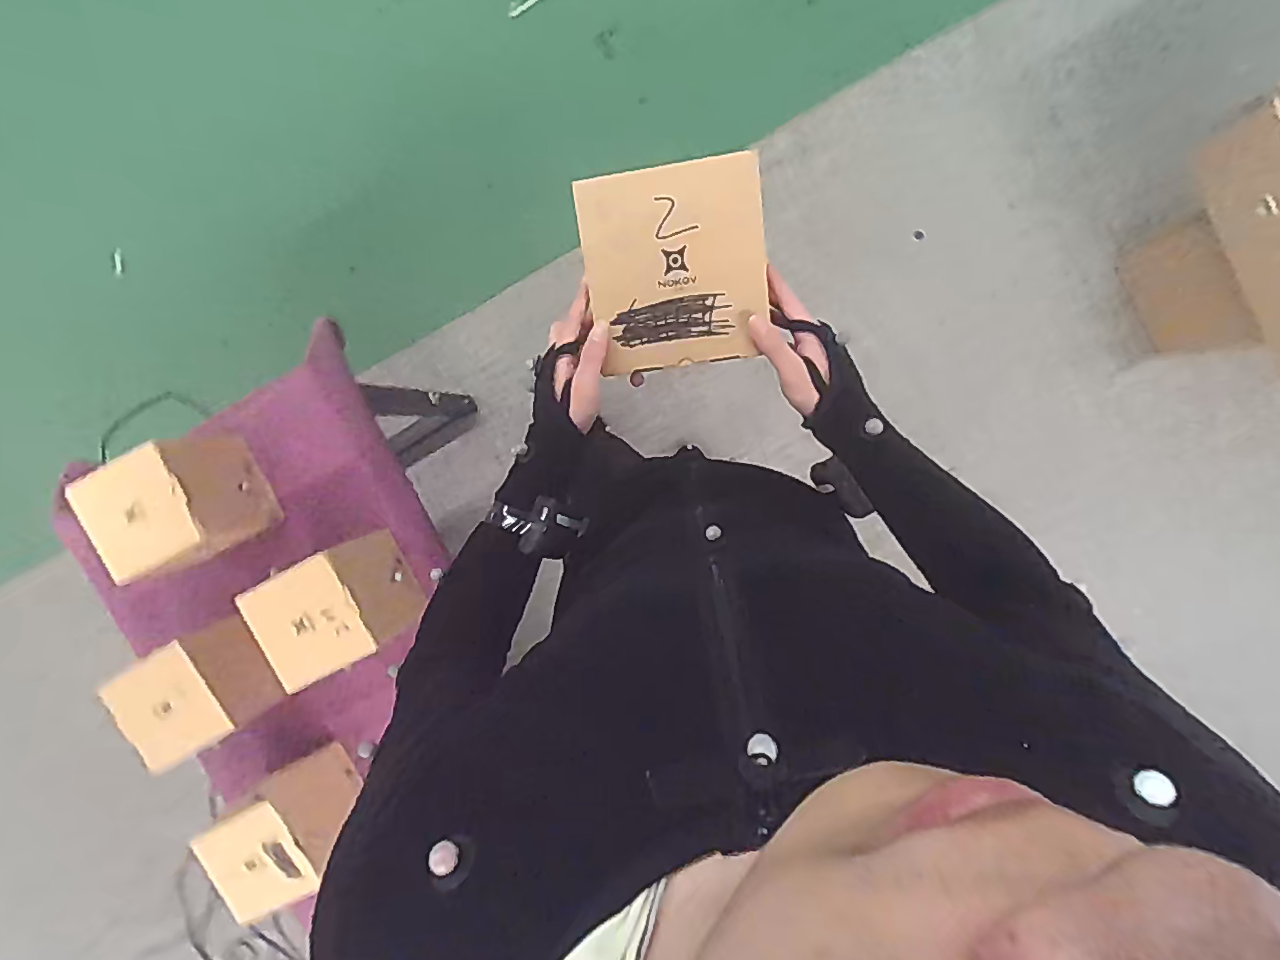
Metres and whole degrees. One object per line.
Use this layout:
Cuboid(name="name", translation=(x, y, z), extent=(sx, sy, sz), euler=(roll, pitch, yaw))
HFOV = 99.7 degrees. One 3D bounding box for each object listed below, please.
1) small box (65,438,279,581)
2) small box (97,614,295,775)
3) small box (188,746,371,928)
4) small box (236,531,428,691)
Cuboid(name="small box", translation=(-0.754, 0.041, 0.891), extent=(0.179, 0.176, 0.168), euler=(-26, 93, 7))
Cuboid(name="small box", translation=(-0.735, 0.350, 0.920), extent=(0.179, 0.176, 0.168), euler=(-30, 93, 7))
Cuboid(name="small box", translation=(-0.600, 0.600, 0.931), extent=(0.179, 0.176, 0.168), euler=(-29, 92, 8))
Cuboid(name="small box", translation=(-0.487, 0.203, 0.879), extent=(0.179, 0.176, 0.168), euler=(-27, 93, 9))
